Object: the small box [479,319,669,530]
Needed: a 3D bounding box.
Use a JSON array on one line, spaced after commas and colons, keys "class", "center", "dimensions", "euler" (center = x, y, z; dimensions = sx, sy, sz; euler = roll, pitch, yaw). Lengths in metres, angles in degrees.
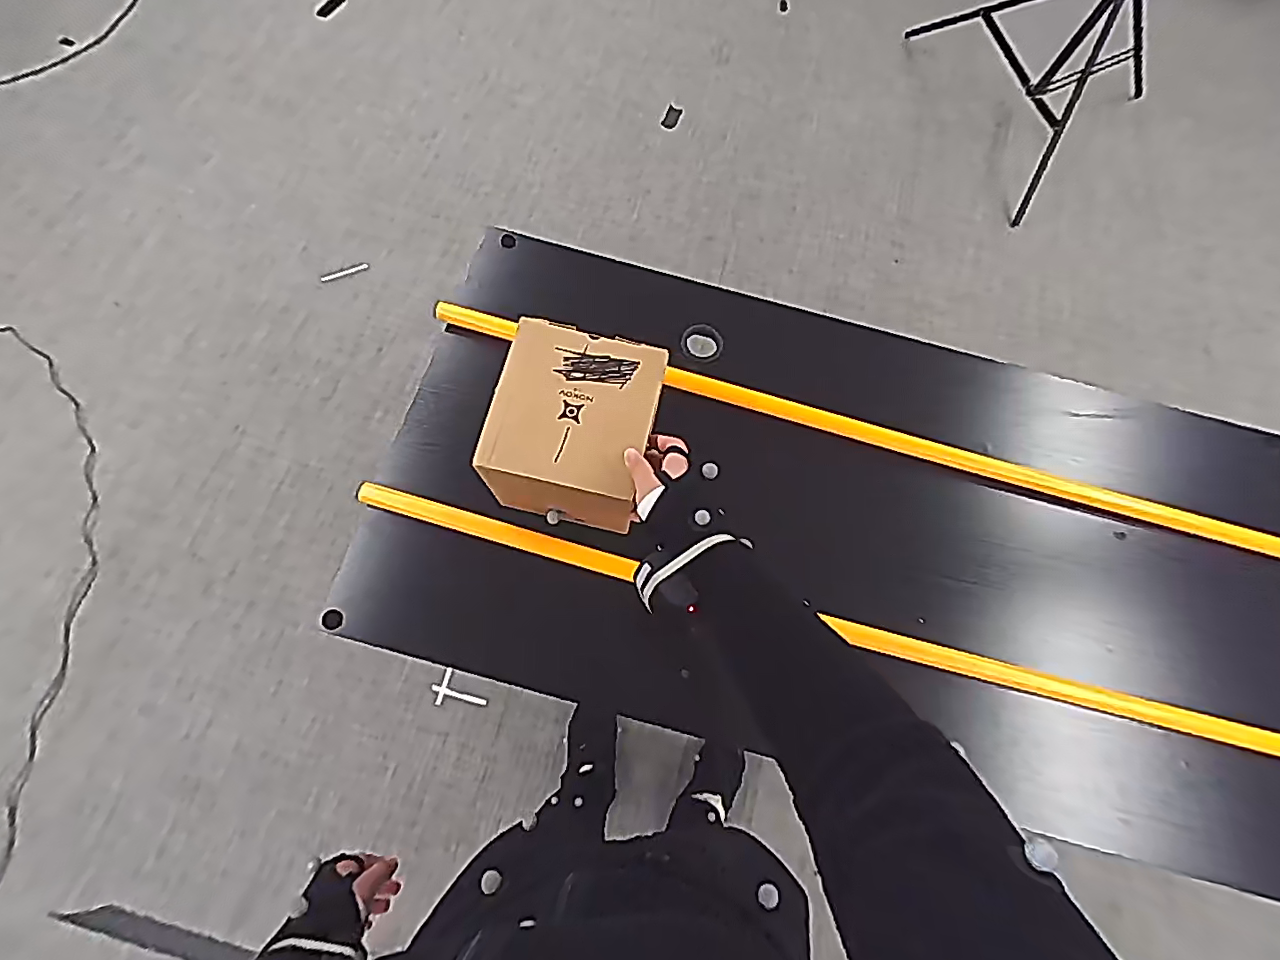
[{"class": "small box", "center": [-0.070, -0.055, 0.642], "dimensions": [0.168, 0.176, 0.179], "euler": [13, 73, 1]}]
